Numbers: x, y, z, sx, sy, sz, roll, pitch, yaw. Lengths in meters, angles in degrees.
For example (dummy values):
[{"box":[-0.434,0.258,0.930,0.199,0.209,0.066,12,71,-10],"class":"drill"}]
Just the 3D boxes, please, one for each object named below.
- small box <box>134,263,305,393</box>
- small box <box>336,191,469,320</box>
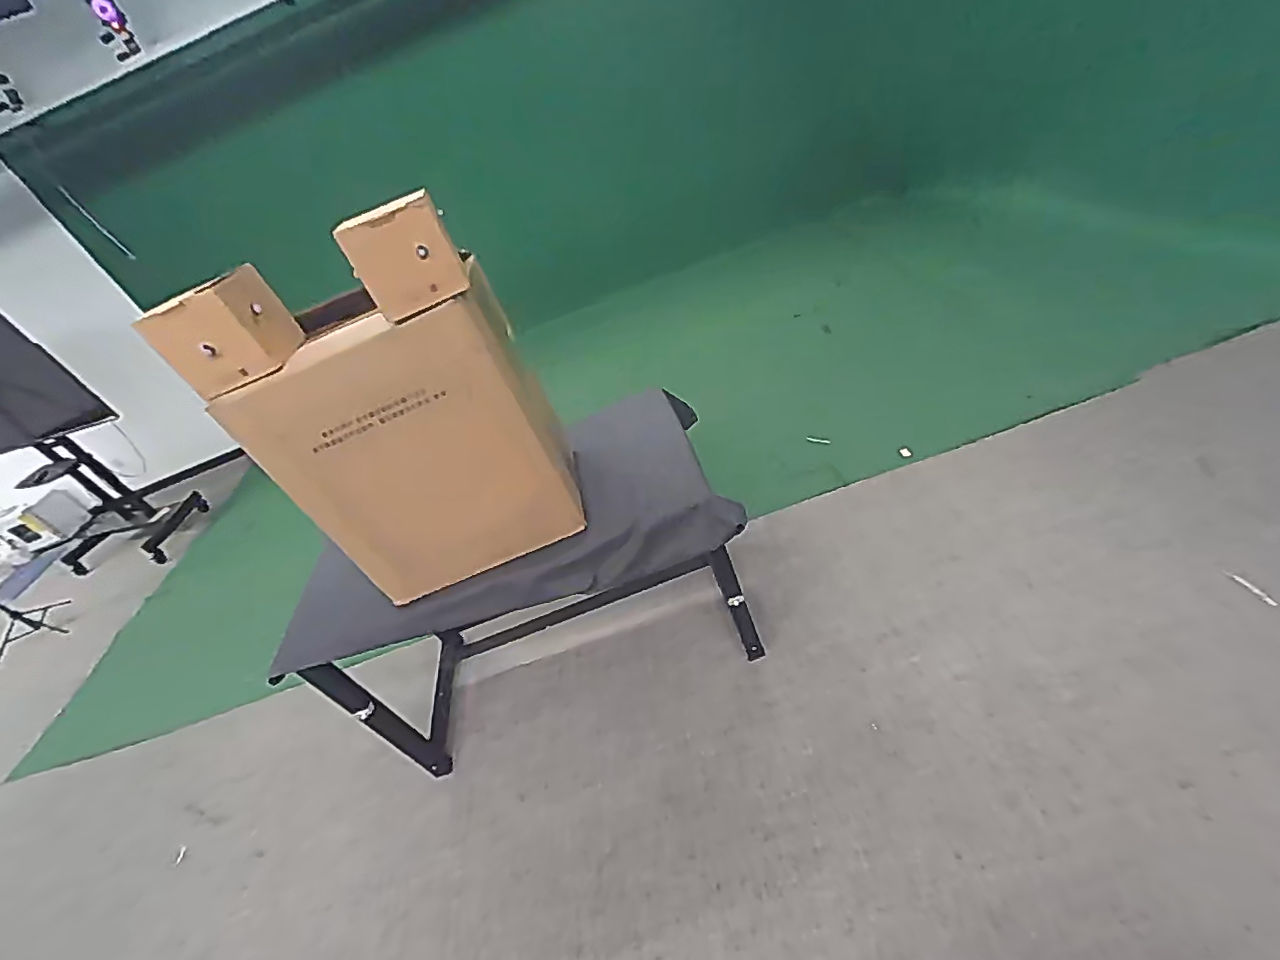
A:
[{"box":[-0.798,-0.290,1.052,0.168,0.176,0.179,-22,37,3],"class":"small box"},{"box":[-0.437,-0.423,1.025,0.168,0.176,0.179,-24,35,-5],"class":"small box"}]
